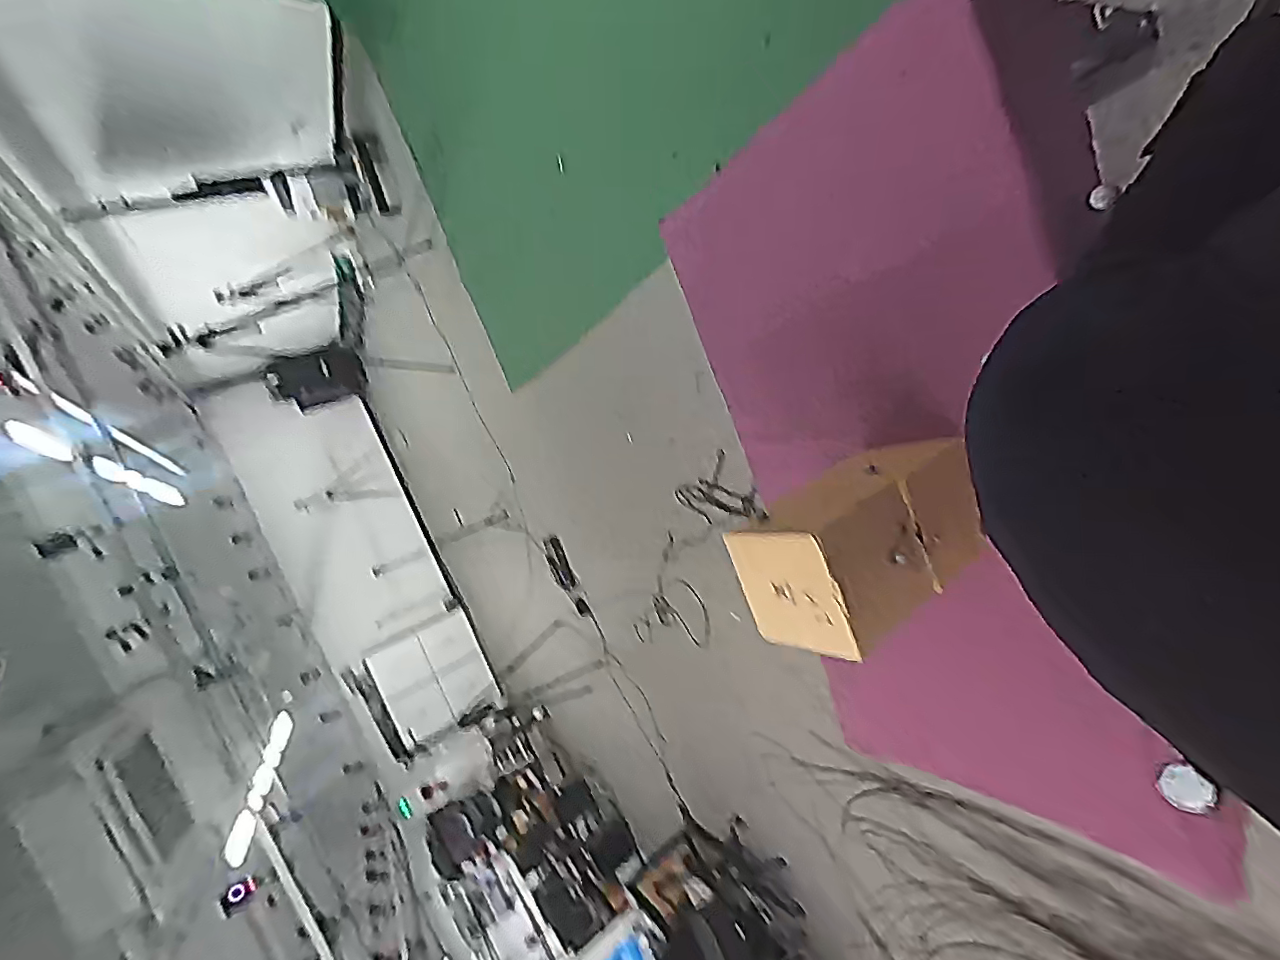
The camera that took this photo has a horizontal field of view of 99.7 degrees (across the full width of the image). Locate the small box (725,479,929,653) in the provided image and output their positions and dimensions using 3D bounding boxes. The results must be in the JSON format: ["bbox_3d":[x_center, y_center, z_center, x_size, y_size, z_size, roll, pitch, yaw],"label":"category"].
[{"bbox_3d":[0.254,0.108,0.742,0.179,0.176,0.168,-10,103,59],"label":"small box"}]

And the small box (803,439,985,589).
[{"bbox_3d":[0.387,0.046,0.817,0.179,0.176,0.168,-9,104,60],"label":"small box"}]
